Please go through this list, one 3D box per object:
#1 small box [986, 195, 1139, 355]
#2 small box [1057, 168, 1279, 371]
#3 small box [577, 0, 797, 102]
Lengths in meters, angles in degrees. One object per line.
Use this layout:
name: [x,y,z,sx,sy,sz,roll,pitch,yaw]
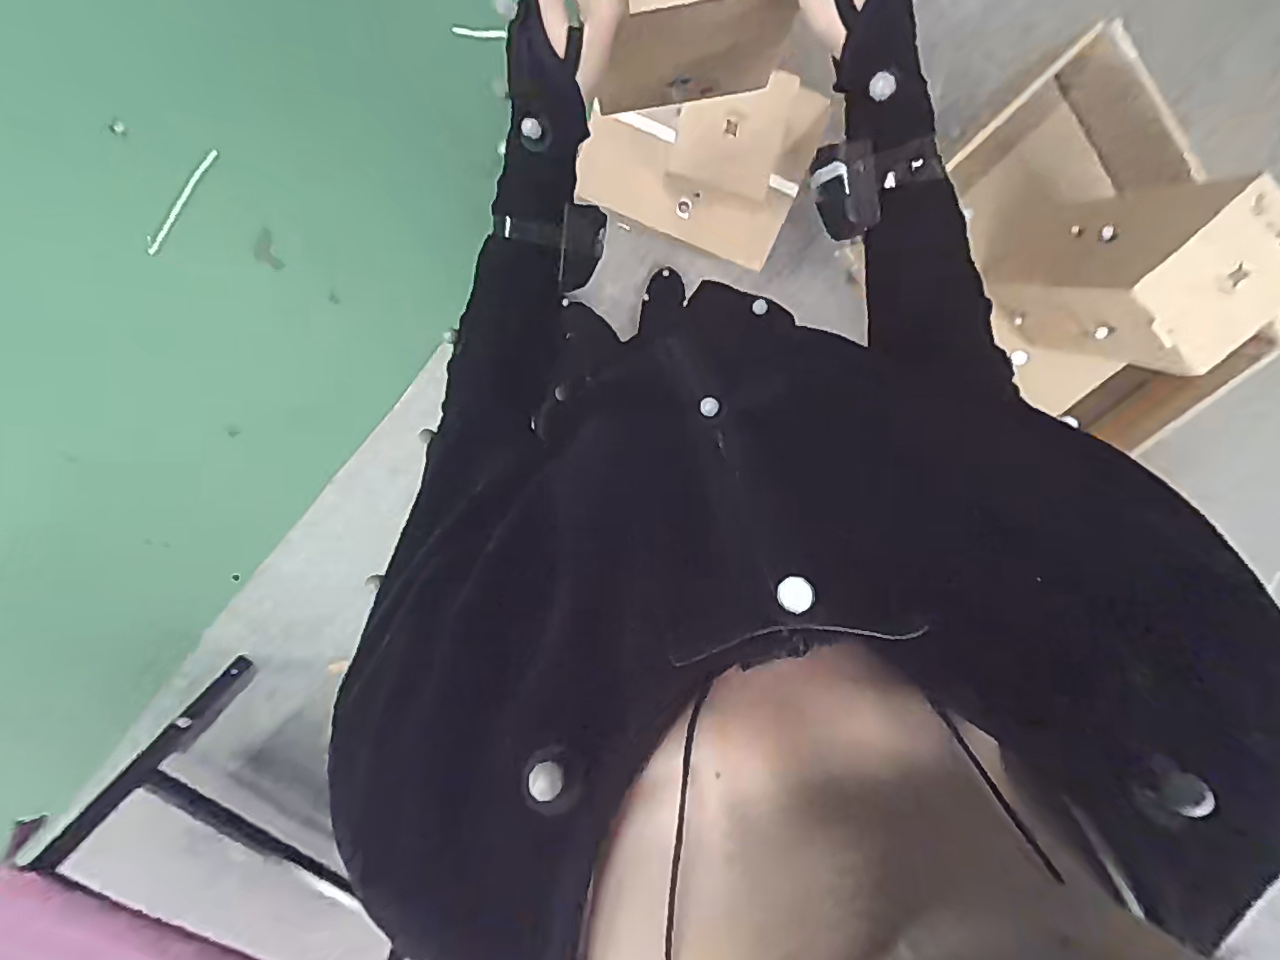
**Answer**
small box: [0.725,-0.335,0.887,0.168,0.176,0.179,43,106,-14]
small box: [0.721,-0.278,0.734,0.168,0.176,0.179,40,107,-14]
small box: [0.027,-0.439,0.423,0.168,0.176,0.179,-7,105,4]
